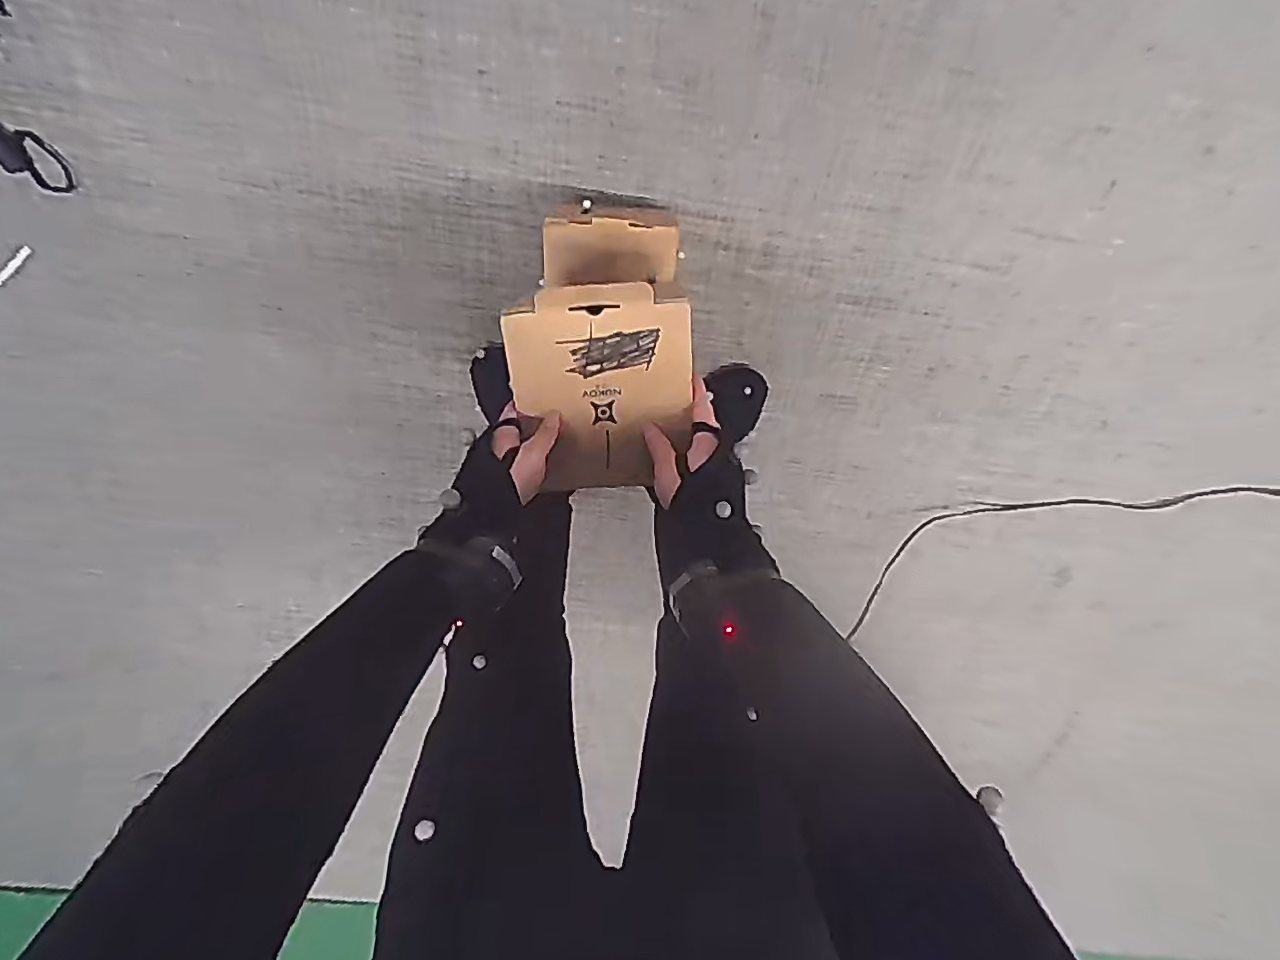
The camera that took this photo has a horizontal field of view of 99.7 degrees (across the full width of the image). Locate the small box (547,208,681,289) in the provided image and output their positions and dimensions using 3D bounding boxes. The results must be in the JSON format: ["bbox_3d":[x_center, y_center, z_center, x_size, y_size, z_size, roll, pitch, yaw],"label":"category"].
[{"bbox_3d":[-0.034,-0.275,0.759,0.168,0.176,0.179,3,124,0],"label":"small box"}]

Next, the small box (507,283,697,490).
[{"bbox_3d":[-0.029,-0.107,0.568,0.168,0.176,0.179,-3,117,3],"label":"small box"}]
